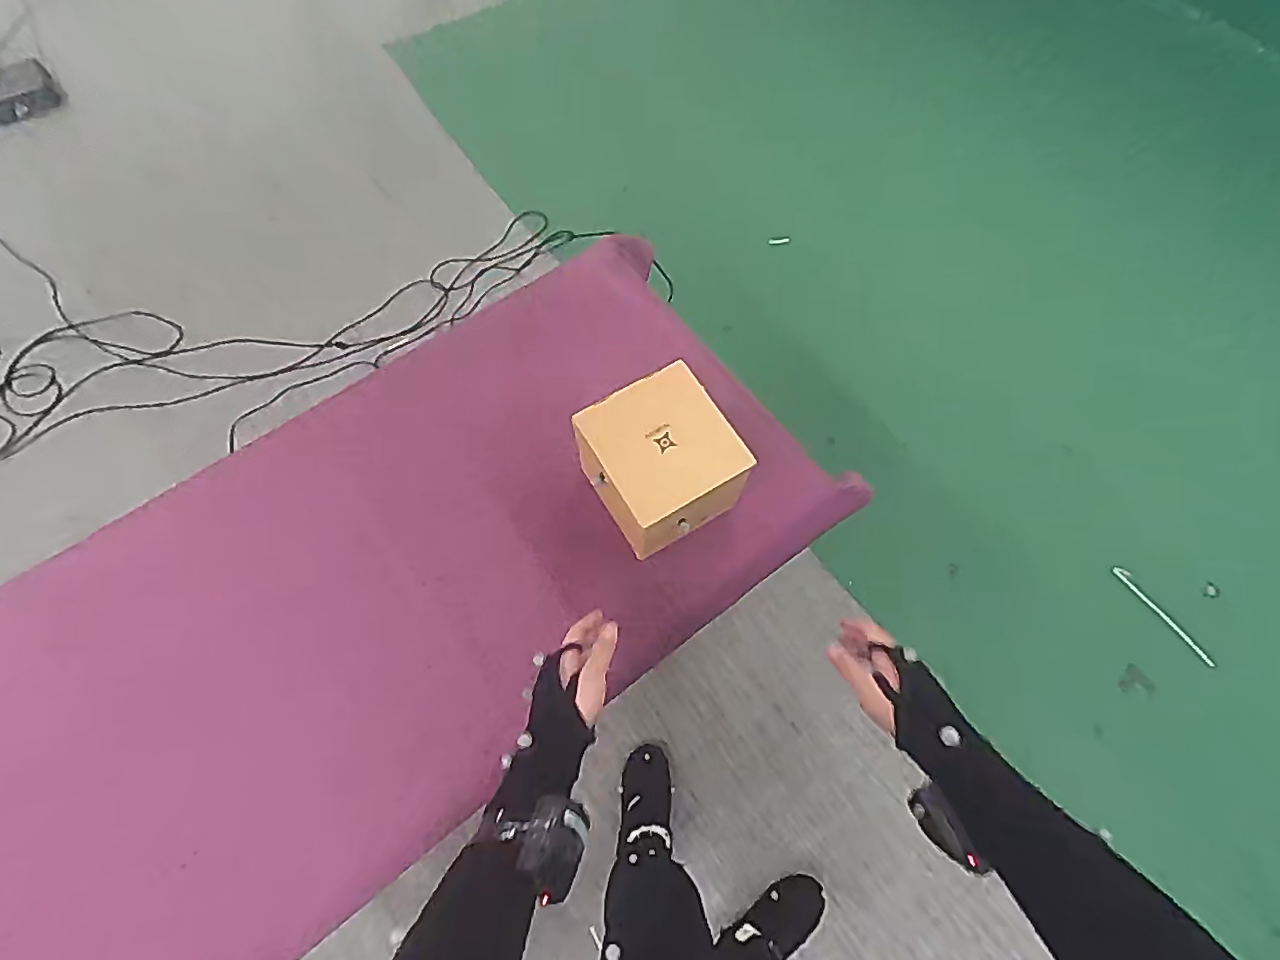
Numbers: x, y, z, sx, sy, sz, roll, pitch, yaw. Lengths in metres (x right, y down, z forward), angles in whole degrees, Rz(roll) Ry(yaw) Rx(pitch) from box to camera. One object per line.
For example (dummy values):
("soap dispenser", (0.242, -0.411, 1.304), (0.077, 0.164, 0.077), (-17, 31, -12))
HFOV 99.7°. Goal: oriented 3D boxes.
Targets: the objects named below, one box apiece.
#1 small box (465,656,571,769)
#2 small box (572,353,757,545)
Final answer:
("small box", (-0.277, 0.541, 1.276), (0.179, 0.176, 0.168), (-42, 74, -15))
("small box", (0.029, -0.029, 0.727), (0.168, 0.176, 0.179), (-29, 71, -11))
